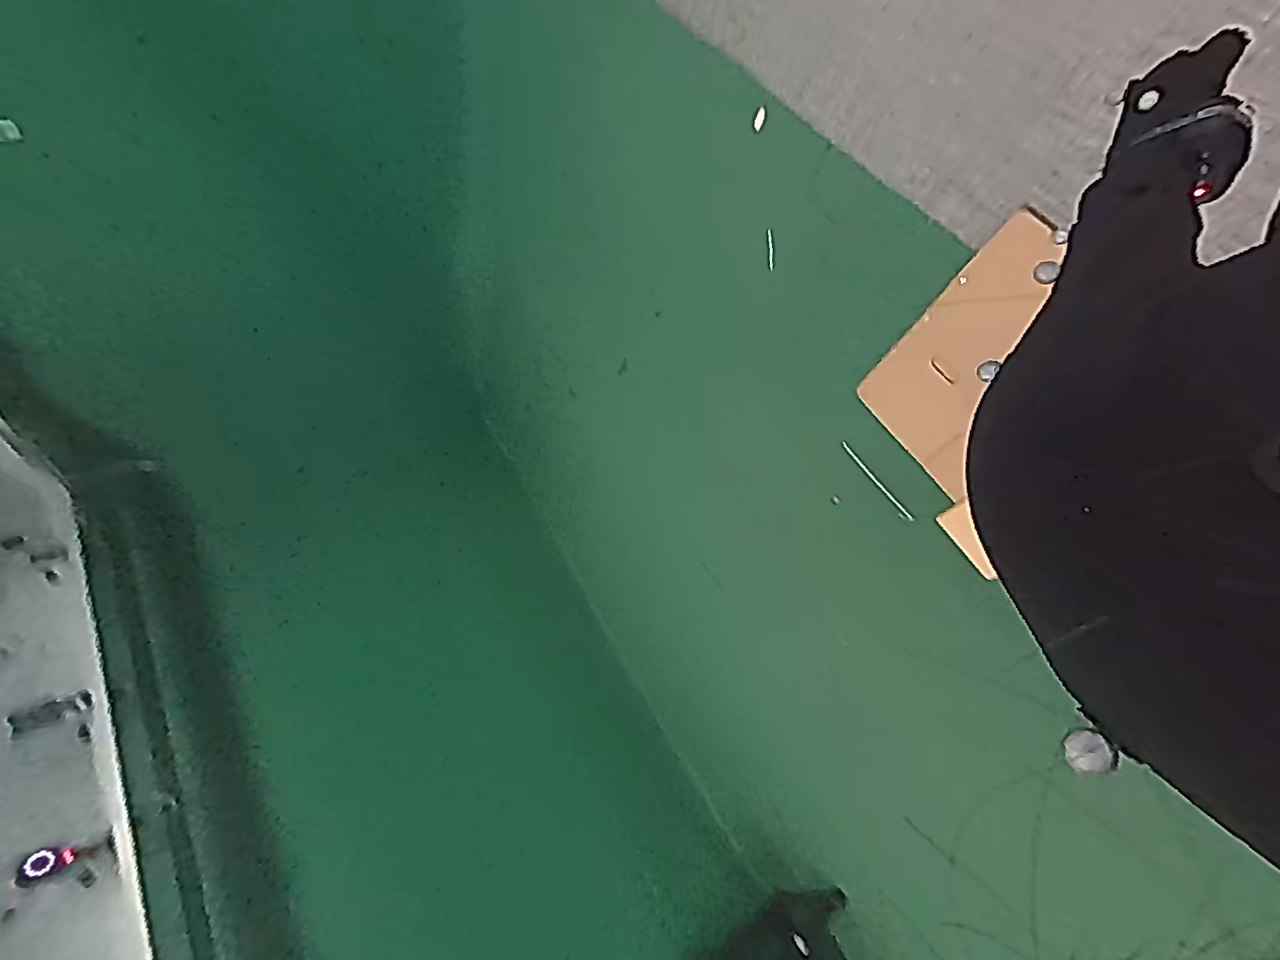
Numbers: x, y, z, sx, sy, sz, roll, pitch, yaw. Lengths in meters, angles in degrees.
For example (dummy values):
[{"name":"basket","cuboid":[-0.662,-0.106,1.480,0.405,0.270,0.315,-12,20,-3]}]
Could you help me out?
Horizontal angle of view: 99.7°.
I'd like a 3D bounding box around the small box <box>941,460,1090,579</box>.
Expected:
[{"name":"small box","cuboid":[0.810,0.084,1.169,0.168,0.176,0.179,57,146,19]}]
